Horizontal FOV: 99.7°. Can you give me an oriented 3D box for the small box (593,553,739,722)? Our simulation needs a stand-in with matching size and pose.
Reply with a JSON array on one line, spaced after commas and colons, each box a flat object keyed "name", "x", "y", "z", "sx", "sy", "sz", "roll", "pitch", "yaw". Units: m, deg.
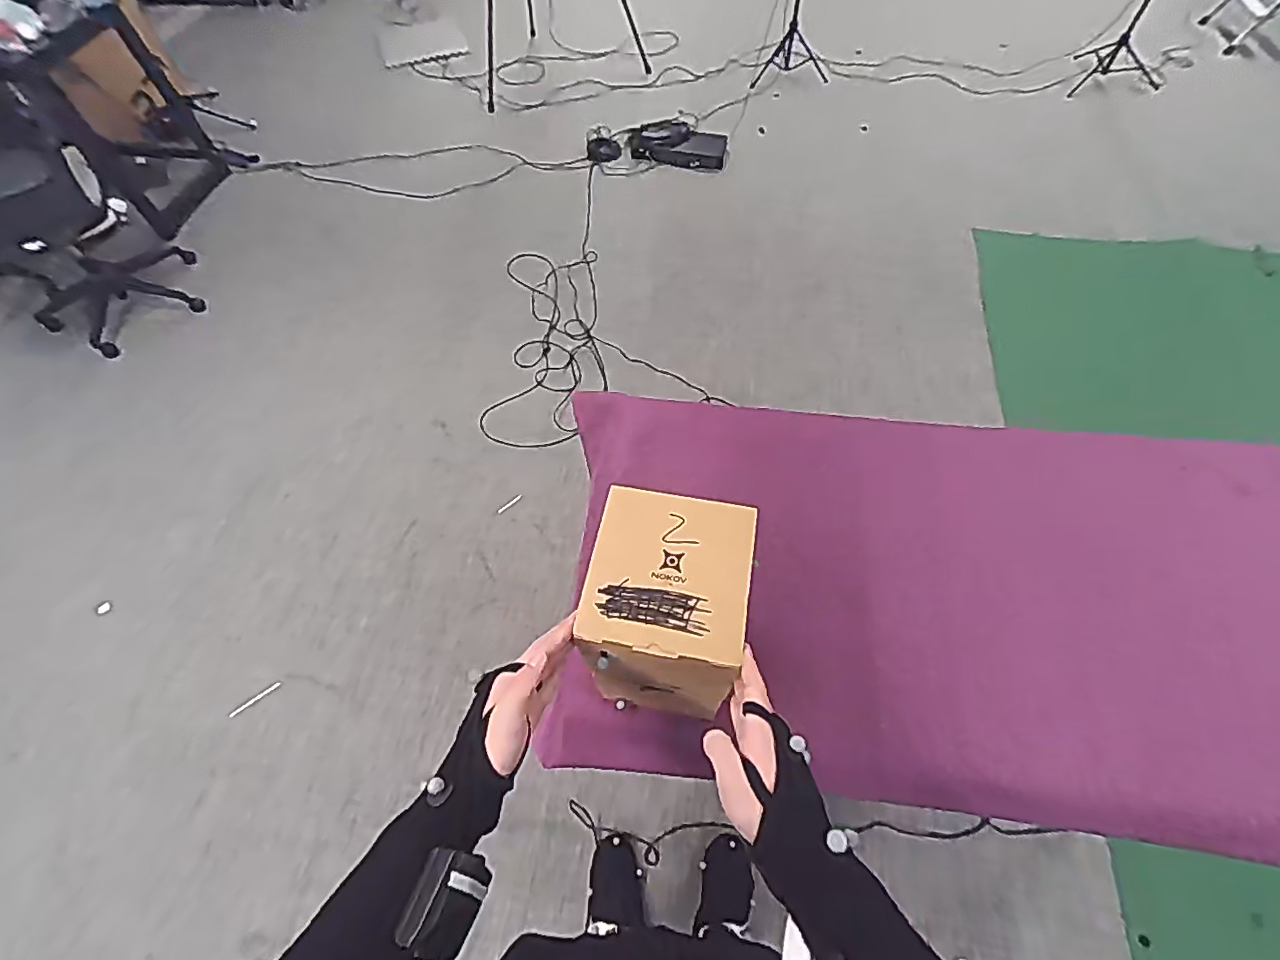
[{"name": "small box", "x": 0.041, "y": 0.227, "z": 0.759, "sx": 0.168, "sy": 0.176, "sz": 0.179, "roll": 8, "pitch": 58, "yaw": 7}]
